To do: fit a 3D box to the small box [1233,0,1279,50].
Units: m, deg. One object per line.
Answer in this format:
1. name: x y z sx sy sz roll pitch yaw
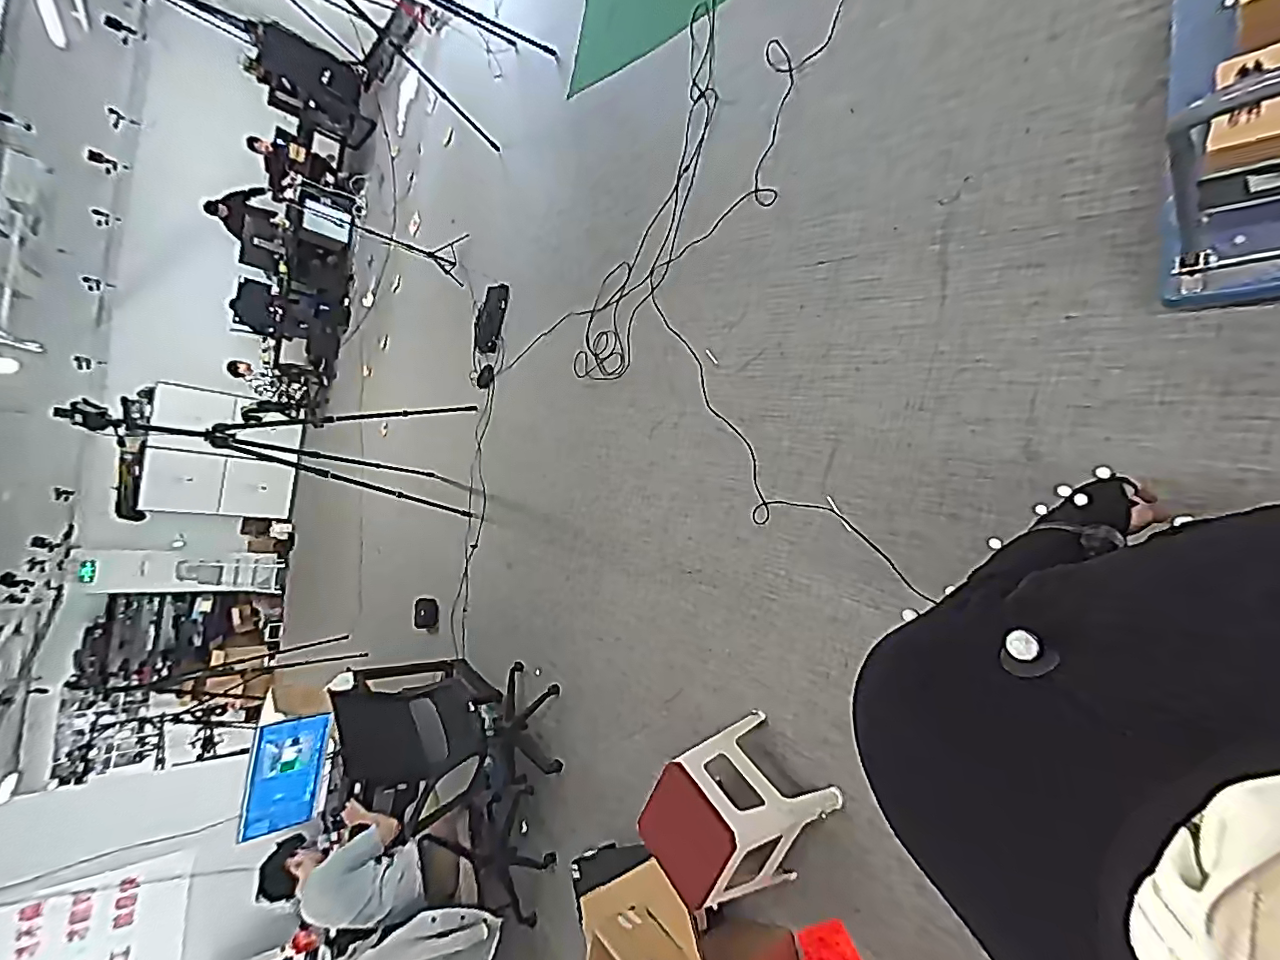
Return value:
1. small box: 1.196 -0.933 0.975 0.168 0.176 0.179 -2 83 47
